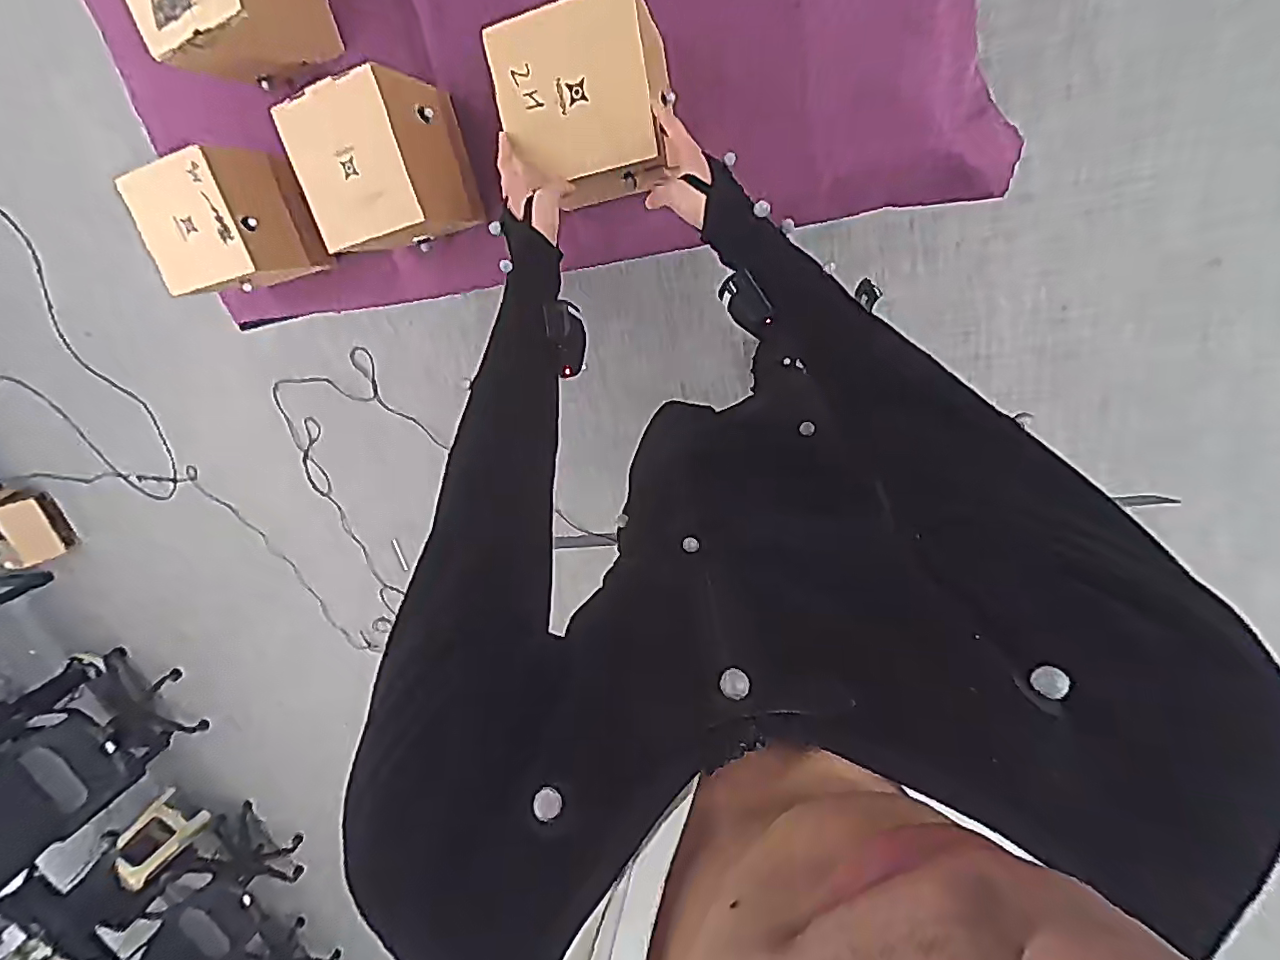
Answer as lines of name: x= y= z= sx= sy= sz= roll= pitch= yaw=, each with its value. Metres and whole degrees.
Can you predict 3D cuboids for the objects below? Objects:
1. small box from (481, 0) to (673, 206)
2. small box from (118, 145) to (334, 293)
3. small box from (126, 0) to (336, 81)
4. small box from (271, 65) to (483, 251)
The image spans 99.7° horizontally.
small box: x=-0.061 y=-0.449 z=0.663 sx=0.179 sy=0.176 sz=0.168 roll=-5 pitch=108 yaw=16
small box: x=-0.632 y=-0.398 z=0.847 sx=0.179 sy=0.176 sz=0.168 roll=-6 pitch=112 yaw=18
small box: x=-0.546 y=-0.657 z=0.710 sx=0.168 sy=0.176 sz=0.179 roll=-7 pitch=111 yaw=18
small box: x=-0.352 y=-0.434 z=0.758 sx=0.168 sy=0.176 sz=0.179 roll=-7 pitch=113 yaw=19
